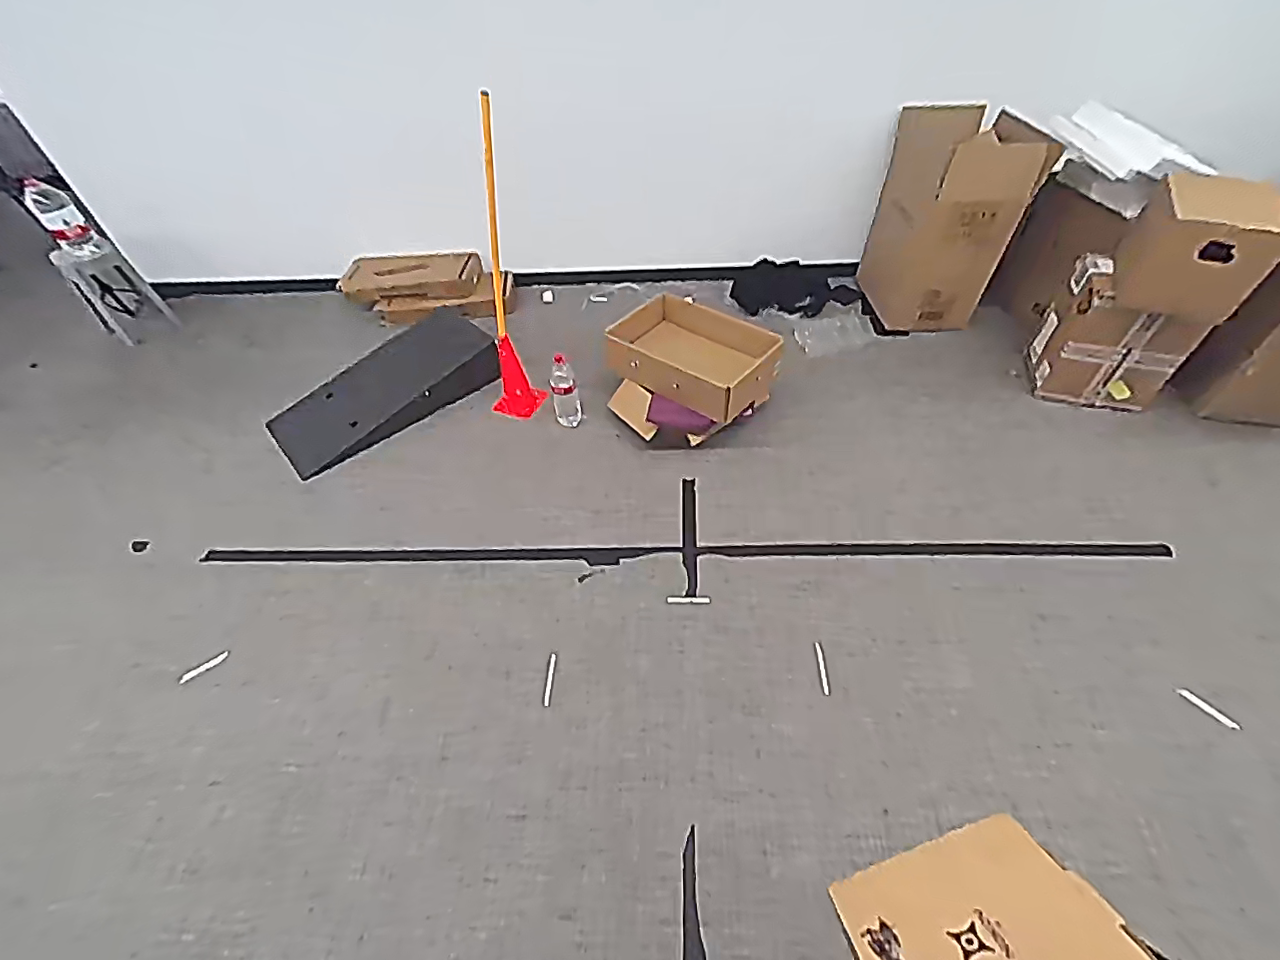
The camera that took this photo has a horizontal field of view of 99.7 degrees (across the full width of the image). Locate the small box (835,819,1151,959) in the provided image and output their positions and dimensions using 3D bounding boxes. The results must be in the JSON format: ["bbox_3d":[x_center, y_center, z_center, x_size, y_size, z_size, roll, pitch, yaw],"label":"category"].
[{"bbox_3d":[0.284,0.416,0.412,0.179,0.176,0.168,-21,7,-1],"label":"small box"}]
